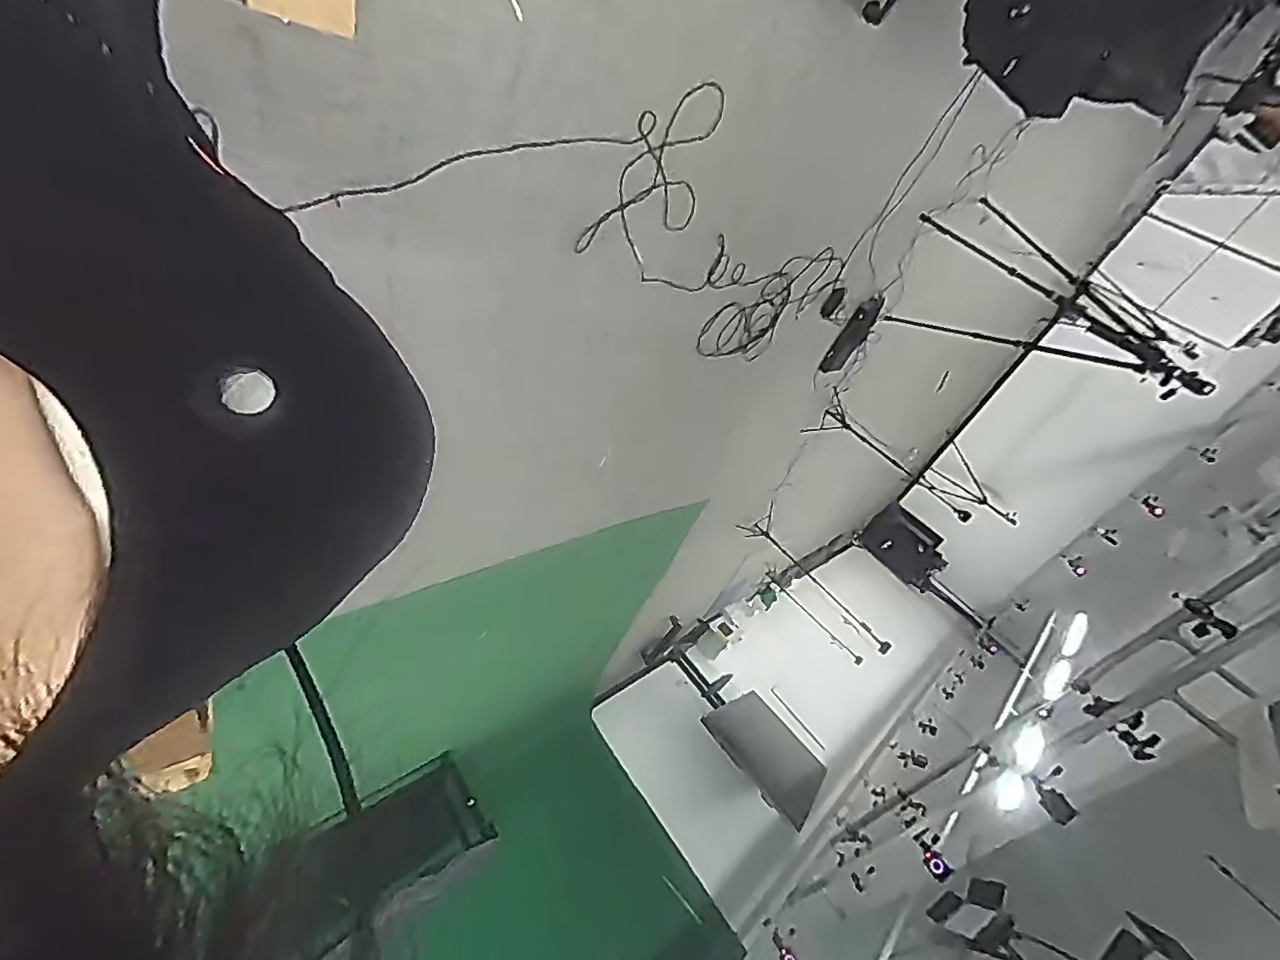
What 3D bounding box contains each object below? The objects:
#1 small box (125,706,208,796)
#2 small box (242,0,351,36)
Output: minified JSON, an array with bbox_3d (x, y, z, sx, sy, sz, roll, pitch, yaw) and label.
[{"bbox_3d":[-1.528,0.867,1.746,0.179,0.176,0.168,-11,138,-45],"label":"small box"},{"bbox_3d":[-0.603,-0.905,0.913,0.168,0.176,0.179,-17,143,-42],"label":"small box"}]
